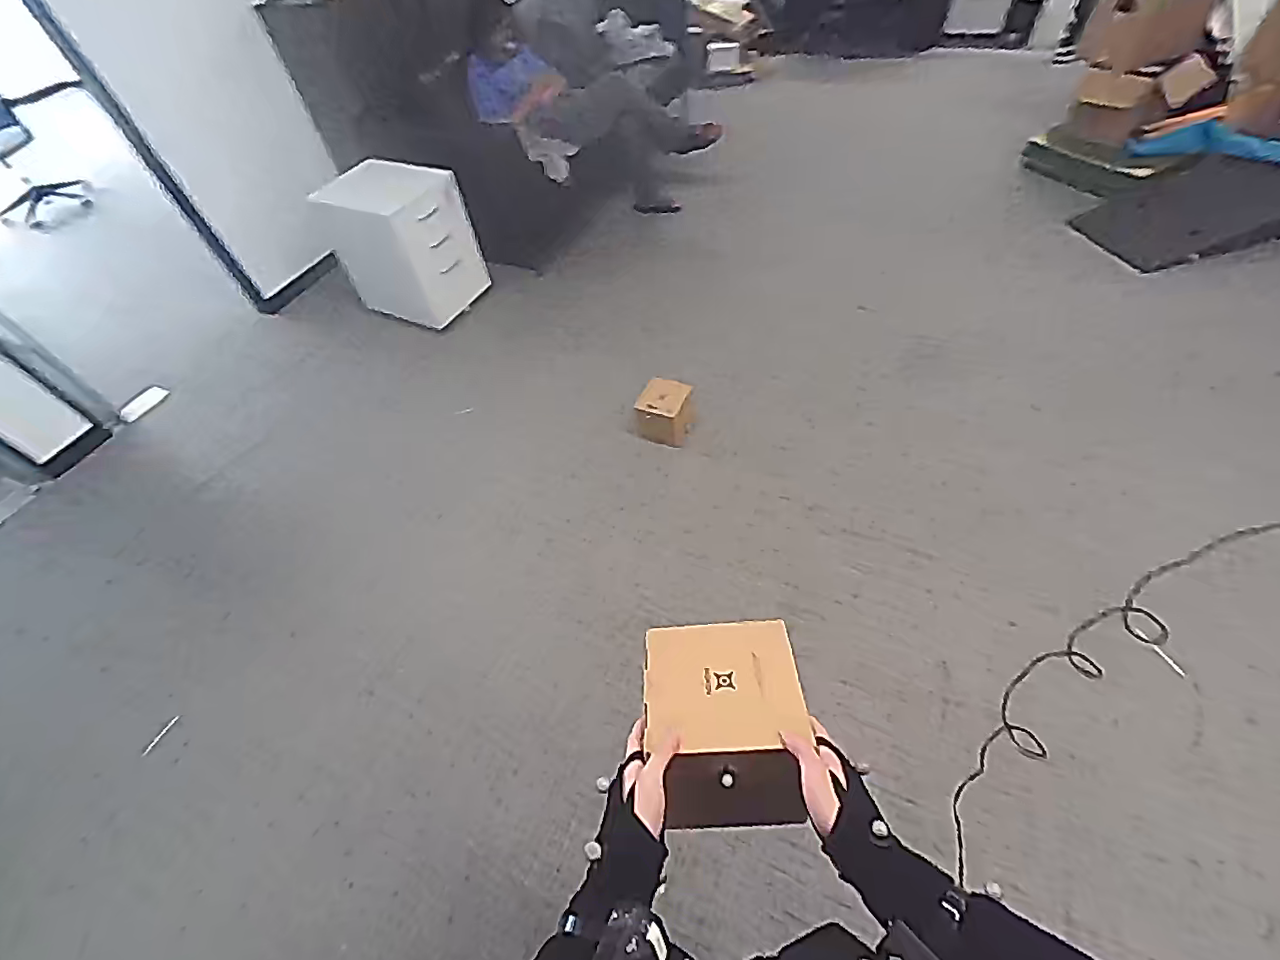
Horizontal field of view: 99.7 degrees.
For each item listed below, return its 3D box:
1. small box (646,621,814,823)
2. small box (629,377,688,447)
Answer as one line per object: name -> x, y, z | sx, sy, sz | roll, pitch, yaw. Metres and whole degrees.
small box -> 0.102, 0.295, 0.662 | 0.179, 0.176, 0.168 | -4, 35, 3
small box -> 0.075, -0.259, 2.053 | 0.168, 0.176, 0.179 | 18, 57, 20
